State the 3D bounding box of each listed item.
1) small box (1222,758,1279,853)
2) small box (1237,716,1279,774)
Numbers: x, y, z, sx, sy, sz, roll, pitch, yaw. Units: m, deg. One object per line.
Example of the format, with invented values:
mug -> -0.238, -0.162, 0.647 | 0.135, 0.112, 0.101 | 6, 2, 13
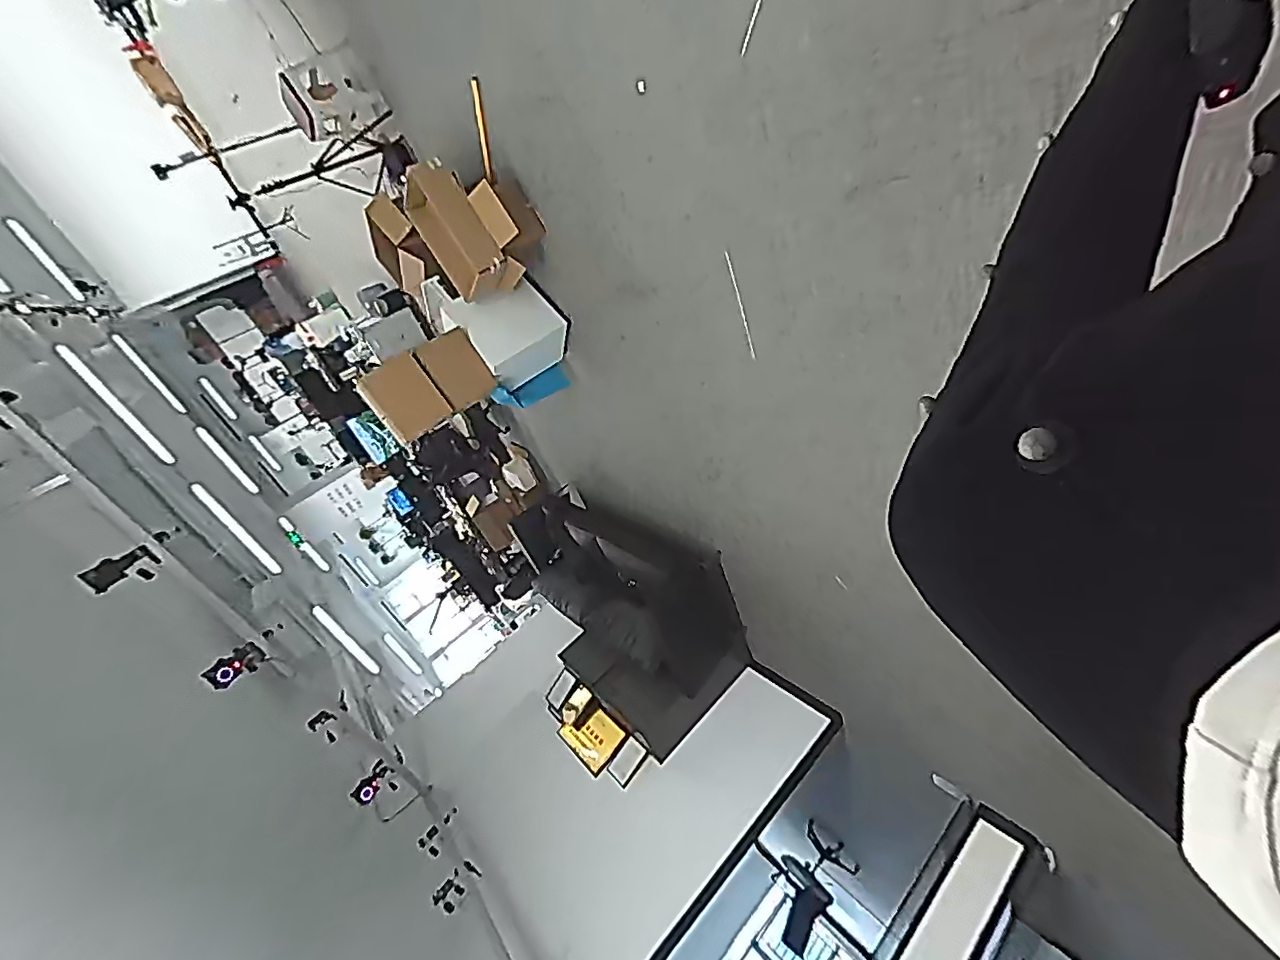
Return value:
small box -> 1.763, 0.896, 1.475 | 0.179, 0.176, 0.168 | 27, 147, 42
small box -> 1.886, 0.807, 1.544 | 0.179, 0.176, 0.168 | 28, 147, 42
